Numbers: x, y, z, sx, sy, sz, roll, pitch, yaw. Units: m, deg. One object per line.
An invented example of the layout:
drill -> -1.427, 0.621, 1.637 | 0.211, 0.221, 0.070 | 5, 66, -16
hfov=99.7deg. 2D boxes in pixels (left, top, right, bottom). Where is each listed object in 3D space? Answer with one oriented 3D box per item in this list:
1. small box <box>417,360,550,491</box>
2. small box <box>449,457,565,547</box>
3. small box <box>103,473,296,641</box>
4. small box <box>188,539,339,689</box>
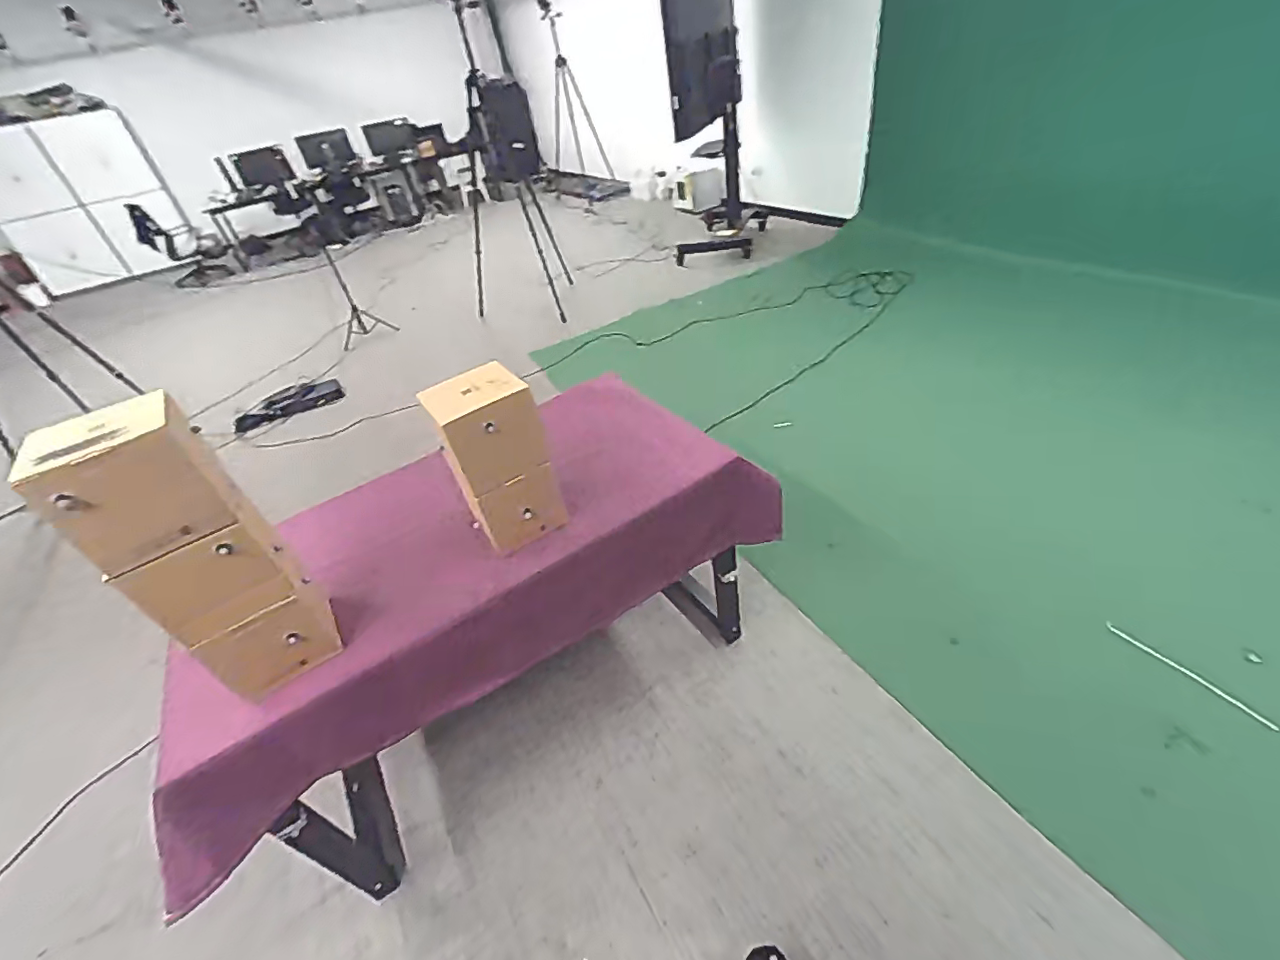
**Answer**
small box -> -0.302, -0.106, 1.061 | 0.179, 0.176, 0.168 | -29, 42, -21
small box -> -0.281, 0.021, 1.164 | 0.168, 0.176, 0.179 | -28, 42, -21
small box -> -0.701, 0.124, 0.875 | 0.179, 0.176, 0.168 | -30, 42, -24
small box -> -0.674, 0.247, 0.977 | 0.168, 0.176, 0.179 | -29, 41, -22
